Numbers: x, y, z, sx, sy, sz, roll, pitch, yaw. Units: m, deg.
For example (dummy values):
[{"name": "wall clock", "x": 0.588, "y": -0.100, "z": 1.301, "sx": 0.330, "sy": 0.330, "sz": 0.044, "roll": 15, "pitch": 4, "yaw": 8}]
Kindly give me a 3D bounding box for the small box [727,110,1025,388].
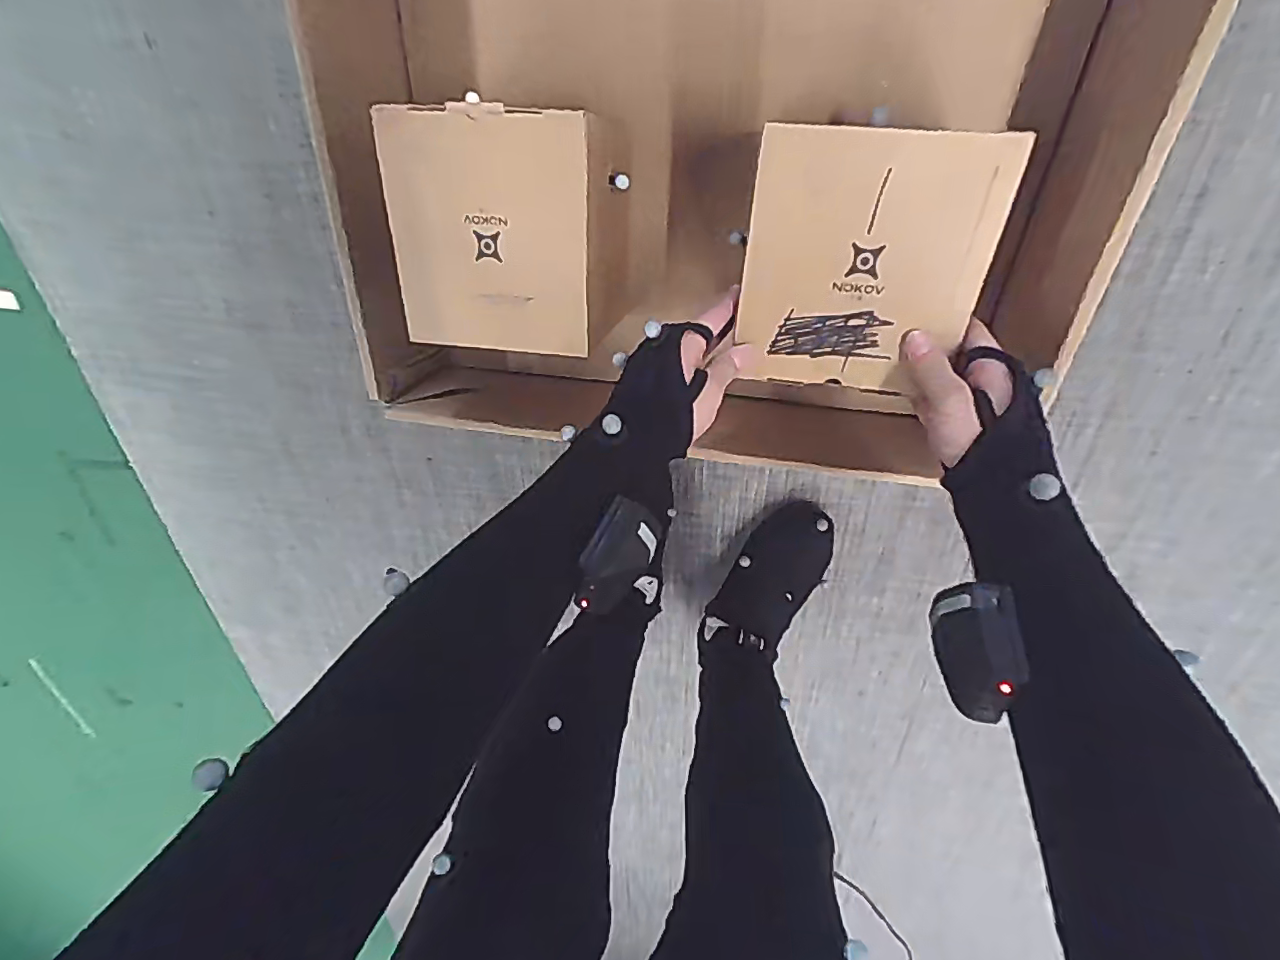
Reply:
[{"name": "small box", "x": 0.169, "y": -0.195, "z": 0.452, "sx": 0.168, "sy": 0.176, "sz": 0.179, "roll": 7, "pitch": 120, "yaw": 8}]
